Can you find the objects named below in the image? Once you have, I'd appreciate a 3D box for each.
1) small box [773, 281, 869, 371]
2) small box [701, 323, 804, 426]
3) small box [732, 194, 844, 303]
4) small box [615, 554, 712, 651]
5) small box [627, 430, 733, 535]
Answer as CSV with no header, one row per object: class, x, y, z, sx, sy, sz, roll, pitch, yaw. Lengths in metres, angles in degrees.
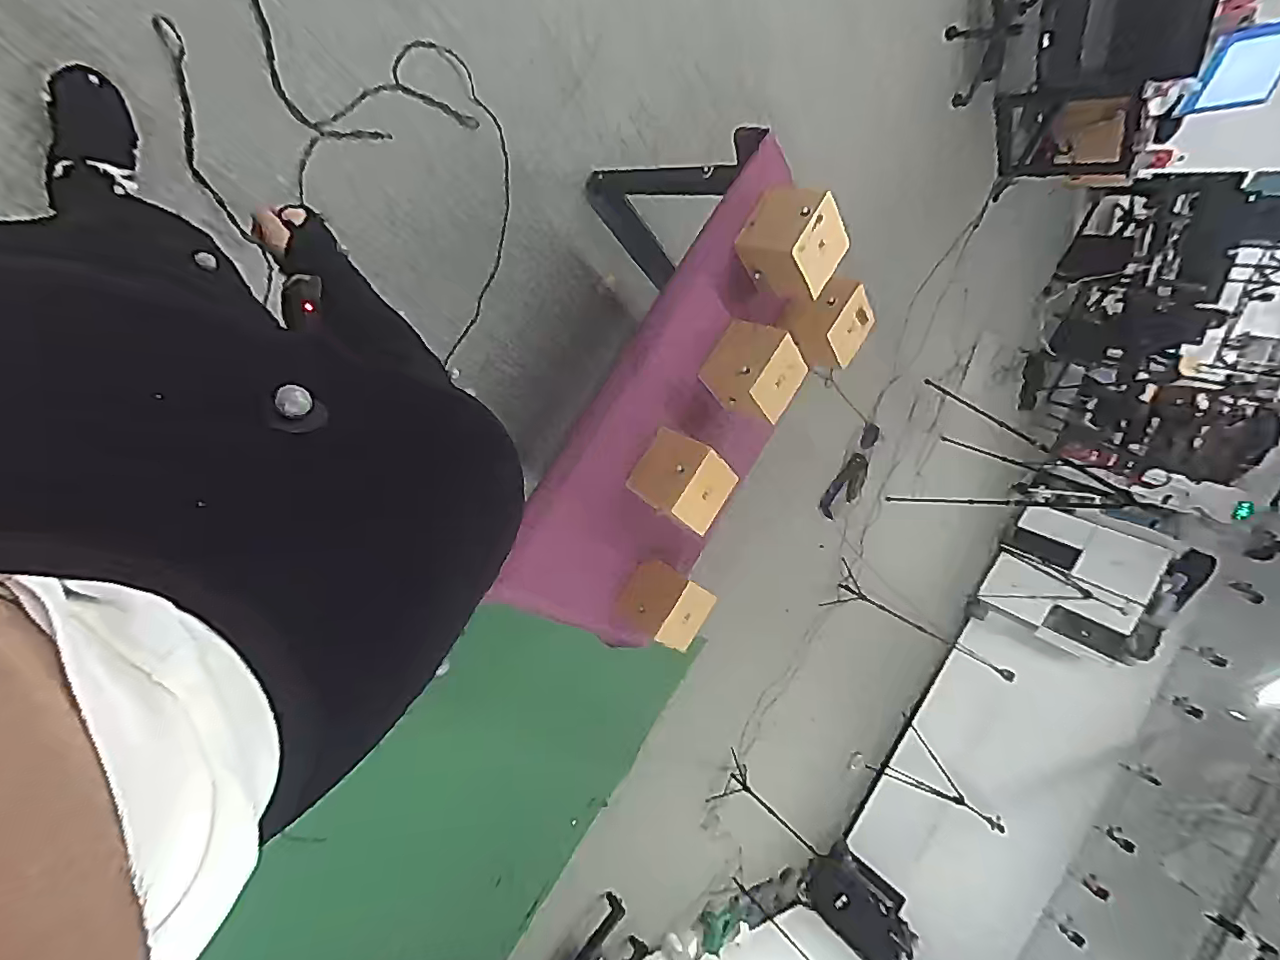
small box,0.500,-0.434,1.495,0.179,0.176,0.168,-57,138,-4
small box,0.276,-0.268,1.362,0.179,0.176,0.168,-57,139,-5
small box,0.349,-0.551,1.277,0.179,0.176,0.168,35,85,-50
small box,0.057,0.331,1.470,0.179,0.176,0.168,-57,137,-6
small box,0.092,0.004,1.332,0.179,0.176,0.168,-58,138,-6
